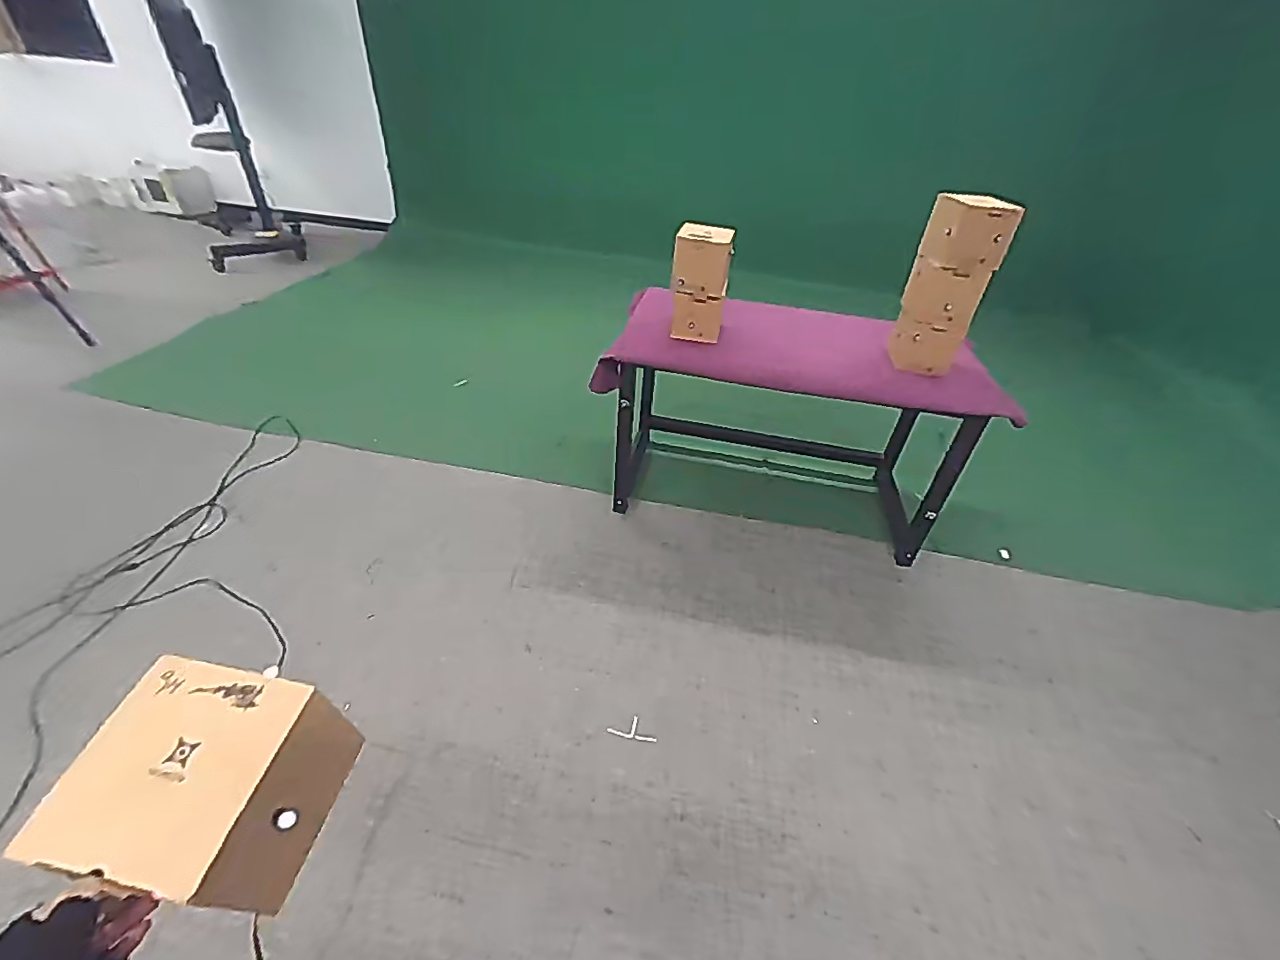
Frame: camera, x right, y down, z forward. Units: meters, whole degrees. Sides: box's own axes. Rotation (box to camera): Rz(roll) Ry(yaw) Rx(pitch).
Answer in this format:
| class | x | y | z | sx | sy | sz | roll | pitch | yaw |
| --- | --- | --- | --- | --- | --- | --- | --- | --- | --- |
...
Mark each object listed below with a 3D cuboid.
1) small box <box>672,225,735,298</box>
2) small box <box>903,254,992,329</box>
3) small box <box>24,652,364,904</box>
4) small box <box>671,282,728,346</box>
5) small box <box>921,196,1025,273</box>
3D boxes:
| class | x | y | z | sx | sy | sz | roll | pitch | yaw |
| --- | --- | --- | --- | --- | --- | --- | --- | --- | --- |
| small box | 0.203 | -0.703 | 1.741 | 0.168 | 0.176 | 0.179 | 13 | 39 | 8 |
| small box | 0.941 | -0.586 | 1.673 | 0.168 | 0.176 | 0.179 | 8 | 38 | 4 |
| small box | -0.416 | 0.306 | 0.551 | 0.168 | 0.176 | 0.179 | 12 | 50 | 4 |
| small box | 0.202 | -0.583 | 1.855 | 0.168 | 0.176 | 0.179 | 9 | 40 | 4 |
| small box | 0.958 | -0.714 | 1.573 | 0.168 | 0.176 | 0.179 | 2 | 37 | -5 |
